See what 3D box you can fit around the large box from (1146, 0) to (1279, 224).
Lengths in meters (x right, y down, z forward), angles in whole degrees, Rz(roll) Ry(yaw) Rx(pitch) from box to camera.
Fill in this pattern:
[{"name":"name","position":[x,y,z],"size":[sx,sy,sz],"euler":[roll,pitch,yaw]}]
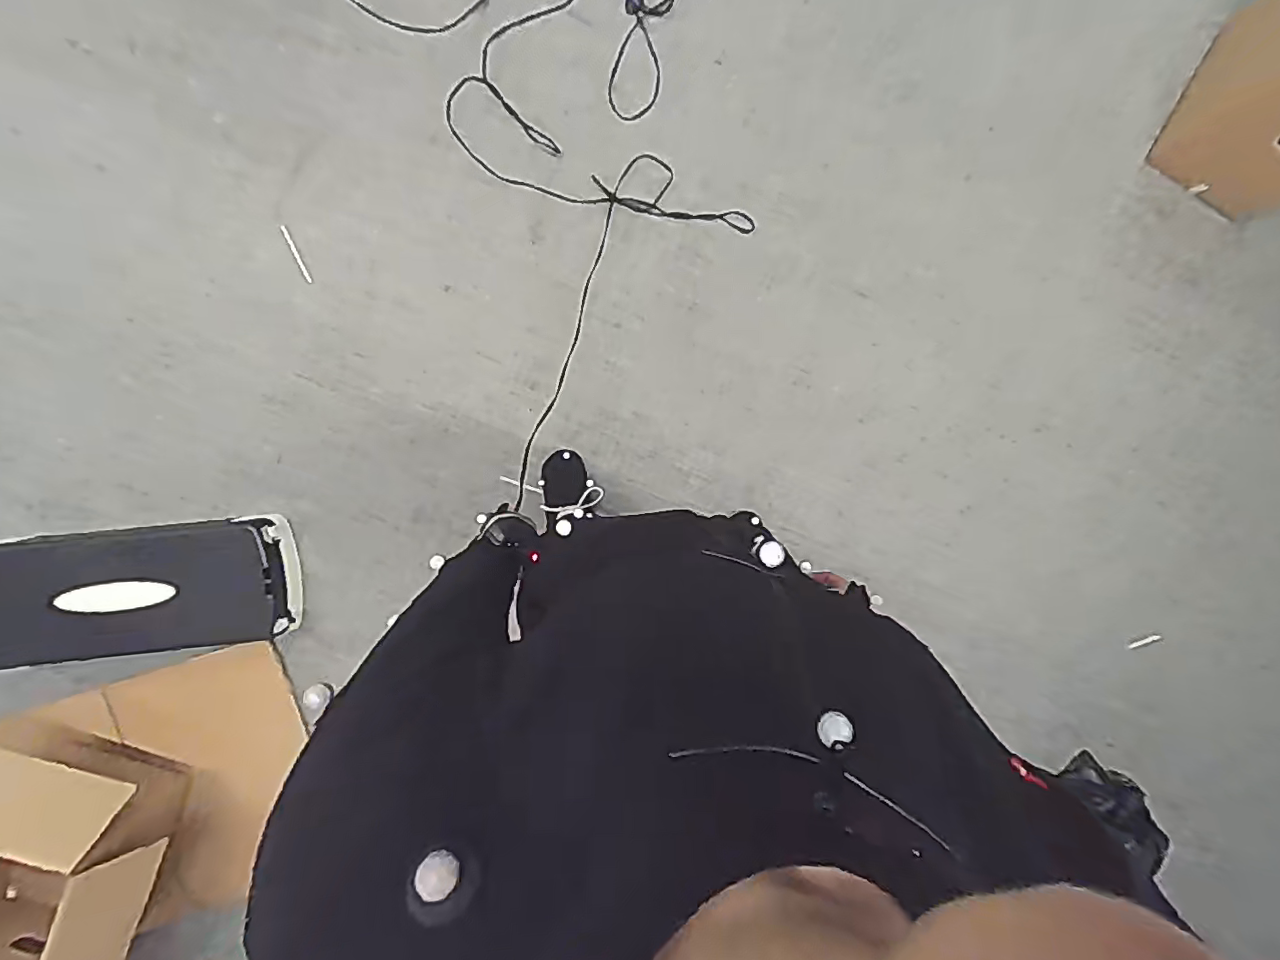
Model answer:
[{"name":"large box","position":[1.546,-0.910,1.270],"size":[0.320,0.320,0.408],"euler":[28,92,-5]}]
